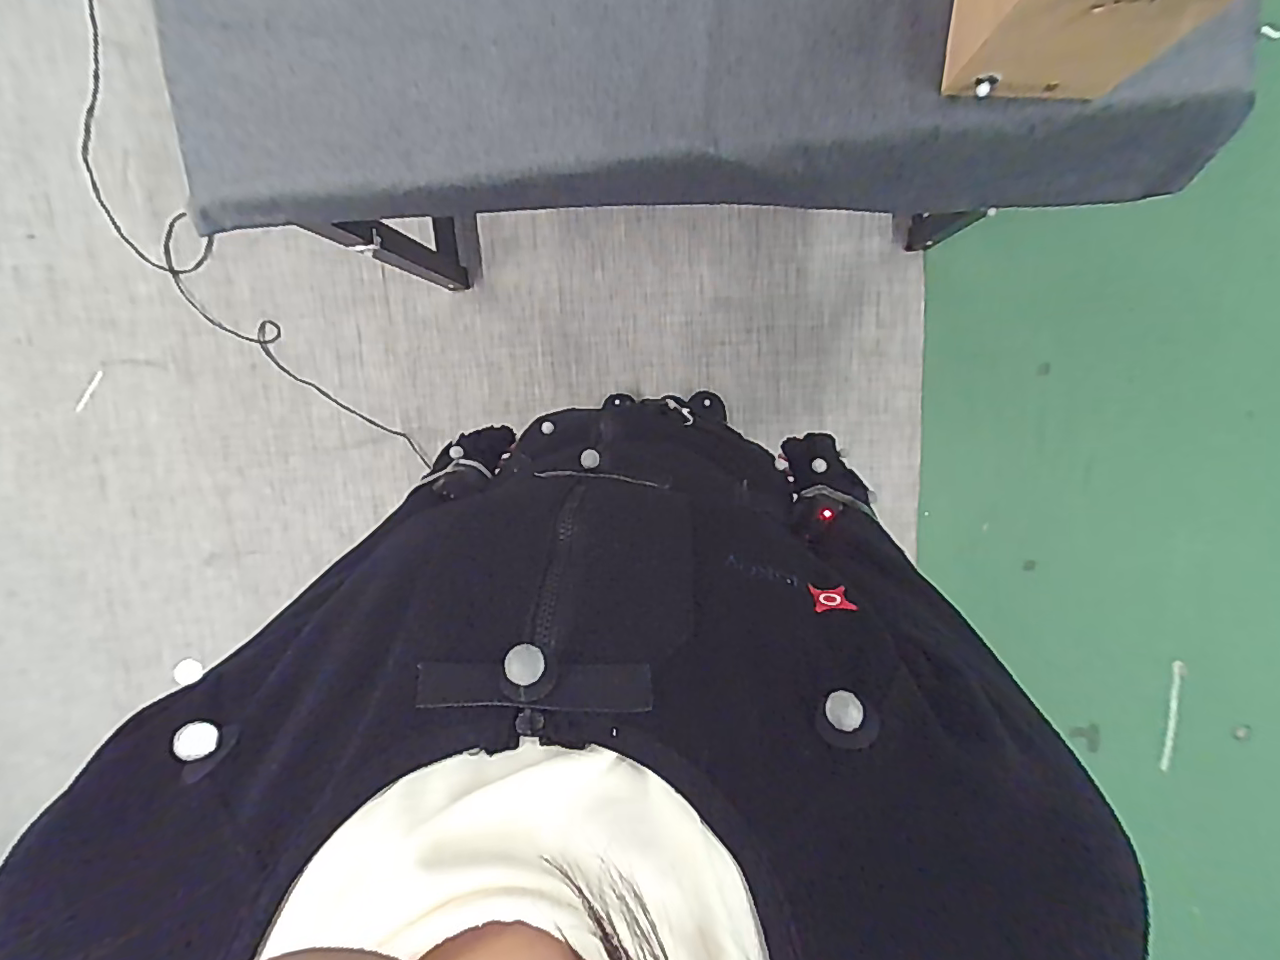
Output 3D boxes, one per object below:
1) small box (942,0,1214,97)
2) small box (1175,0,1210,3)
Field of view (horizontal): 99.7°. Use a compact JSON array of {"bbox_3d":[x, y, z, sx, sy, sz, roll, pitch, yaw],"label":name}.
[{"bbox_3d":[0.409,-0.493,0.503,0.168,0.176,0.179,5,98,4],"label":"small box"},{"bbox_3d":[0.395,-0.463,0.345,0.168,0.176,0.179,5,100,5],"label":"small box"}]
